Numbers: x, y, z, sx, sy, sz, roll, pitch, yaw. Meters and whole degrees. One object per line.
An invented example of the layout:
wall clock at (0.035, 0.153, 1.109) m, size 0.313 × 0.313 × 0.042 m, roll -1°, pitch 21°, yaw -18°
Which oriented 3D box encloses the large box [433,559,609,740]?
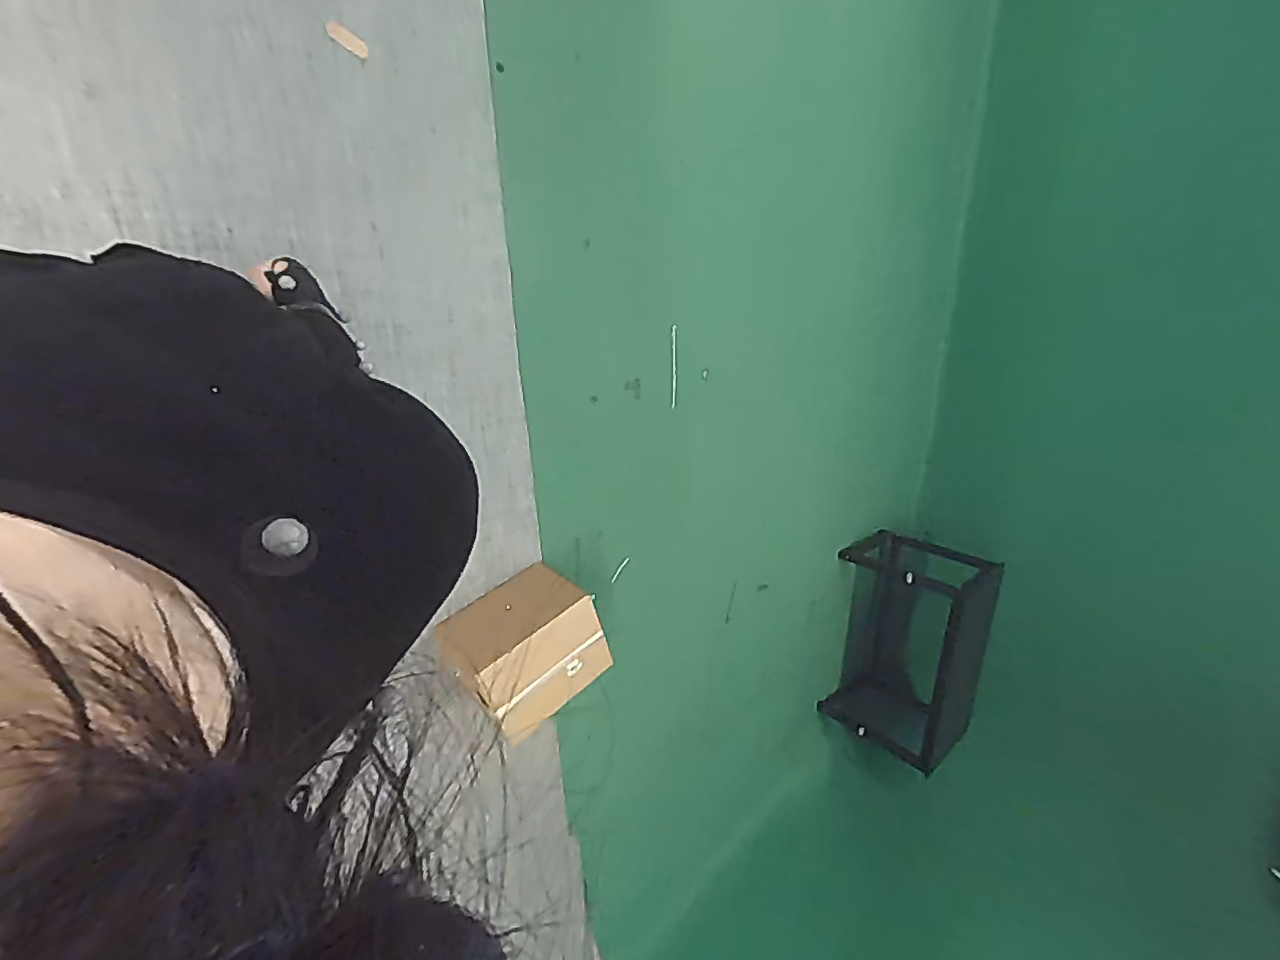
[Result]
large box at (-0.376, 0.522, 1.740) m, size 0.408 × 0.320 × 0.320 m, roll -33°, pitch 124°, yaw -31°
